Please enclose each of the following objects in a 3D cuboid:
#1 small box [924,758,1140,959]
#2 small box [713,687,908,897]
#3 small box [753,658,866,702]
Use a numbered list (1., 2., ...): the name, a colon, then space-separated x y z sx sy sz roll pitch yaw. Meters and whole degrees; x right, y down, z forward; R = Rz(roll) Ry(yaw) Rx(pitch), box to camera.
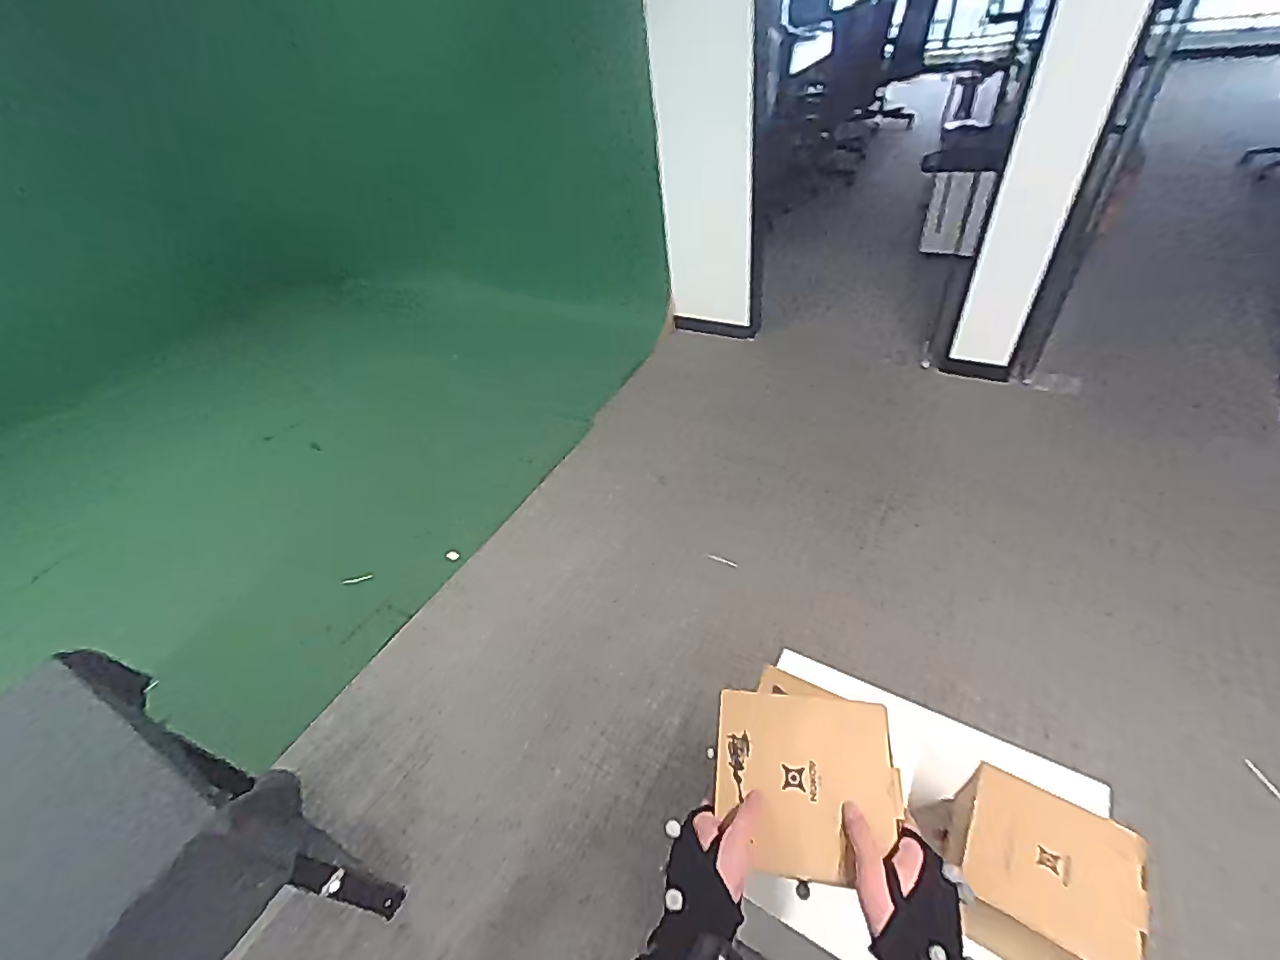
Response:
1. small box: 0.497 0.506 0.700 0.179 0.176 0.168 19 50 27
2. small box: 0.178 0.344 0.604 0.179 0.176 0.168 1 55 13
3. small box: 0.241 0.412 0.824 0.179 0.176 0.168 20 52 23
